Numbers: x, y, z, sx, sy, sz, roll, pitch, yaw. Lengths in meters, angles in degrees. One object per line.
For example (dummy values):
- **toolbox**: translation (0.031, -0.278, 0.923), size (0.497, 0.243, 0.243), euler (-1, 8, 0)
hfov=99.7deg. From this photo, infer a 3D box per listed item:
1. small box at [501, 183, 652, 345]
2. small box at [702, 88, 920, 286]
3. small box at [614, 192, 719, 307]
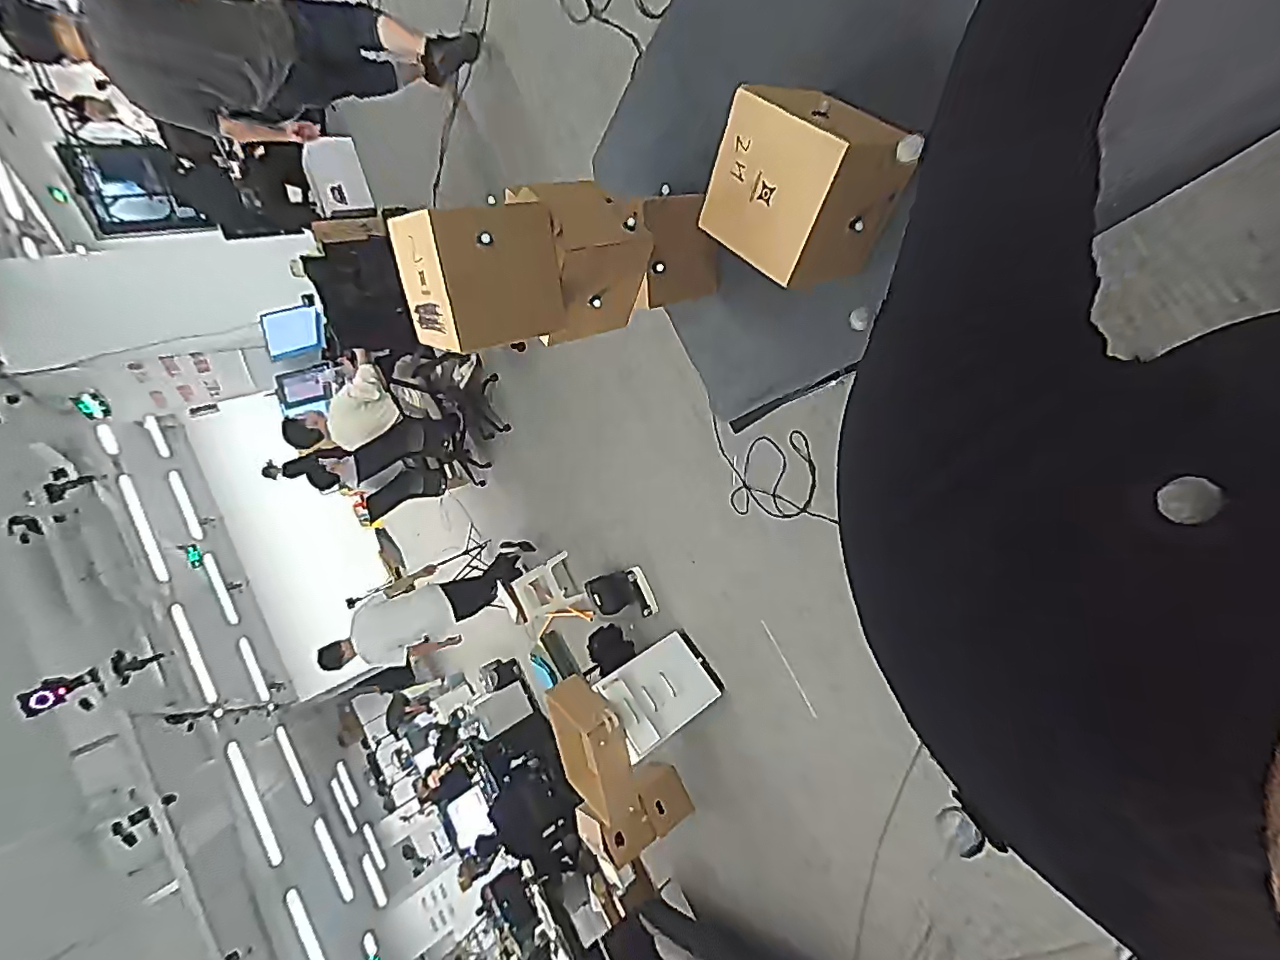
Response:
- **small box**: translation (-0.103, -0.353, 0.872), size (0.168, 0.176, 0.179), euler (52, 146, 20)
- **small box**: translation (0.216, -0.378, 0.697), size (0.179, 0.176, 0.168), euler (49, 143, 26)
- **small box**: translation (0.022, -0.413, 0.960), size (0.179, 0.176, 0.168), euler (28, 132, 44)
